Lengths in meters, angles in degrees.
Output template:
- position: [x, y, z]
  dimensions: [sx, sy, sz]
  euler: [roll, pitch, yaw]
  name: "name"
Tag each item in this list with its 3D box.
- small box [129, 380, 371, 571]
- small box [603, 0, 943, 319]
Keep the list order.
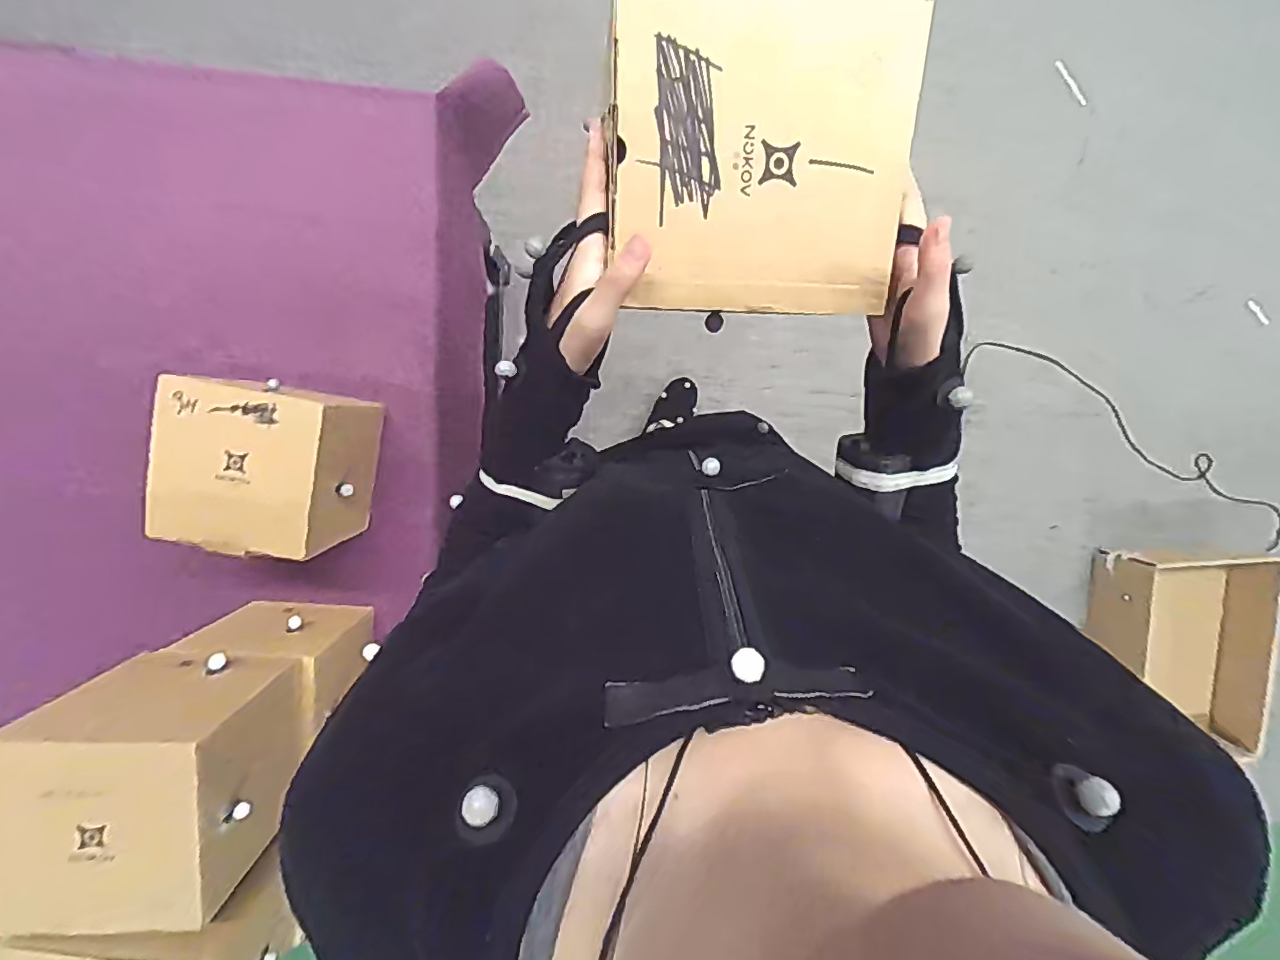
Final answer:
- position: [-0.437, -0.012, 0.633]
  dimensions: [0.168, 0.176, 0.179]
  euler: [10, 96, -7]
  name: "small box"
- position: [0.066, -0.203, 0.379]
  dimensions: [0.179, 0.176, 0.168]
  euler: [0, 107, -8]
  name: "small box"
